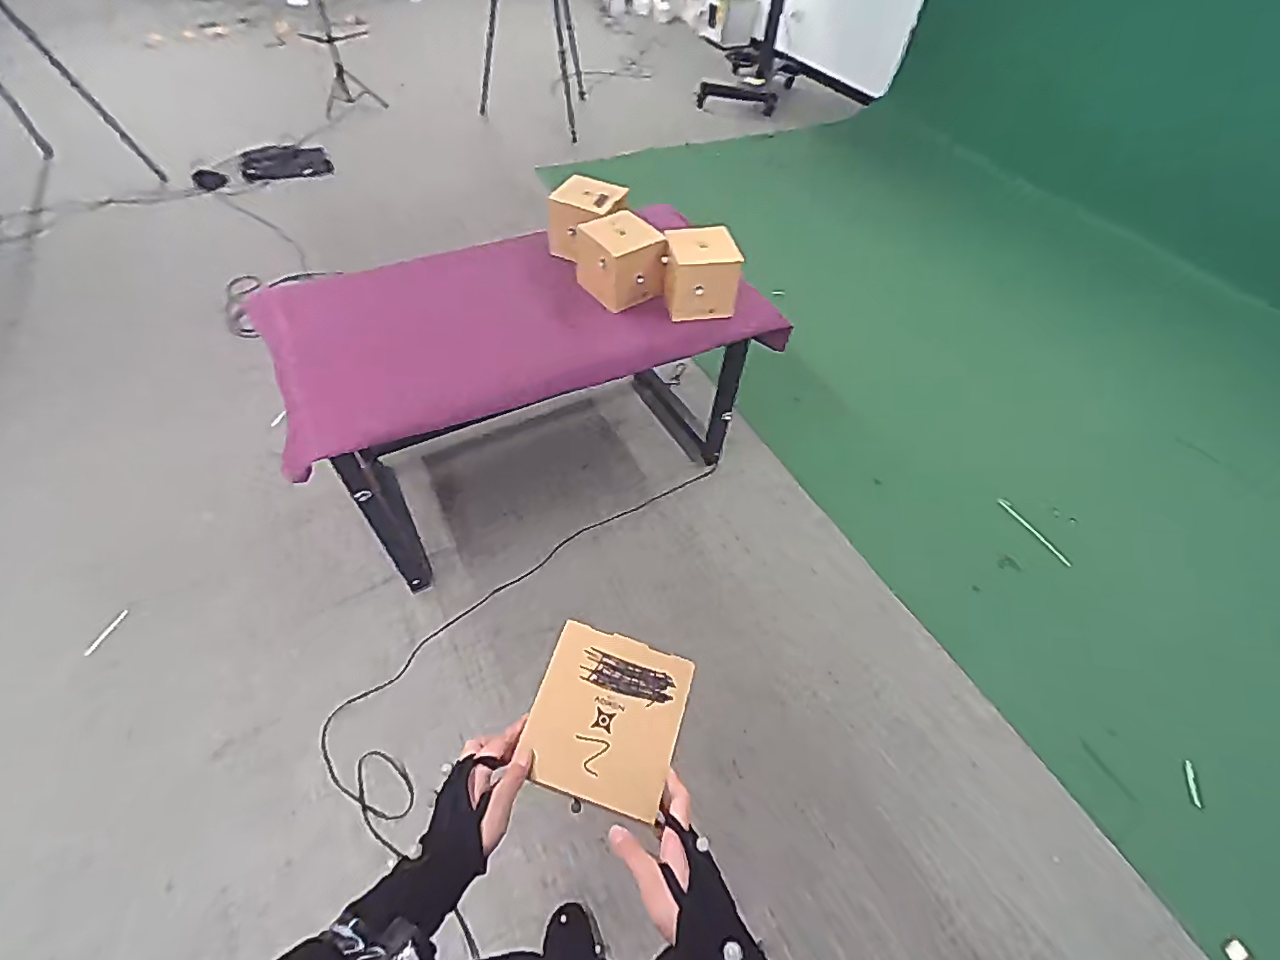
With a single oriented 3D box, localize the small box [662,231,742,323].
[{"bbox_3d":[0.155,-0.530,1.427,0.168,0.176,0.179,-6,51,-8],"label":"small box"}]
